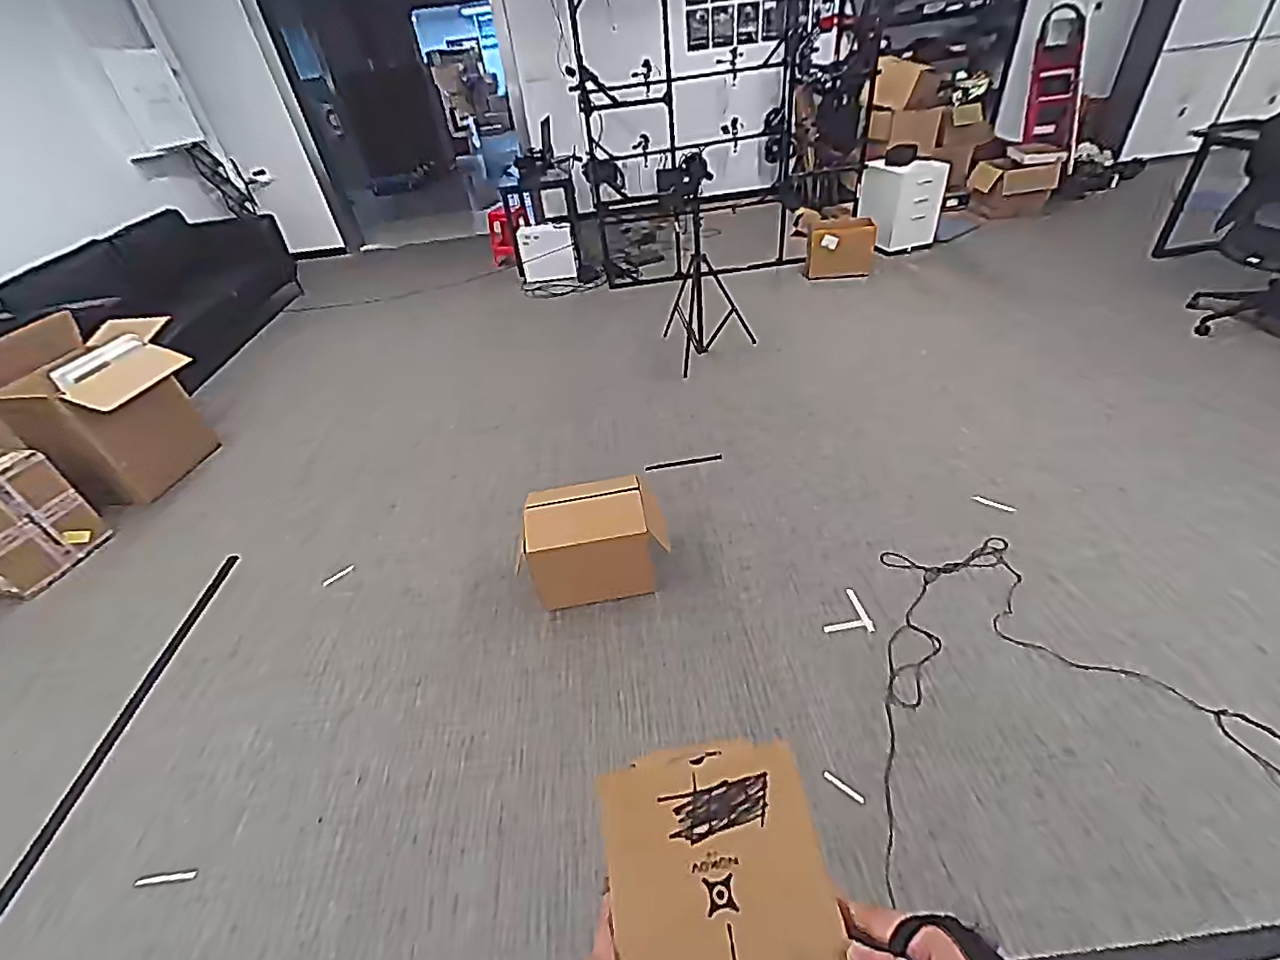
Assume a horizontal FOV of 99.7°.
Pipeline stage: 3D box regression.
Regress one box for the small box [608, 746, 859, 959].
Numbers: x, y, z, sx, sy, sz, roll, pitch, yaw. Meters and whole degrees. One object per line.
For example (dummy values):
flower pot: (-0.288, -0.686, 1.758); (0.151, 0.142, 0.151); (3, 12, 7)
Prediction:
small box: (0.064, 0.350, 0.457); (0.168, 0.176, 0.179); (-7, 50, -3)
